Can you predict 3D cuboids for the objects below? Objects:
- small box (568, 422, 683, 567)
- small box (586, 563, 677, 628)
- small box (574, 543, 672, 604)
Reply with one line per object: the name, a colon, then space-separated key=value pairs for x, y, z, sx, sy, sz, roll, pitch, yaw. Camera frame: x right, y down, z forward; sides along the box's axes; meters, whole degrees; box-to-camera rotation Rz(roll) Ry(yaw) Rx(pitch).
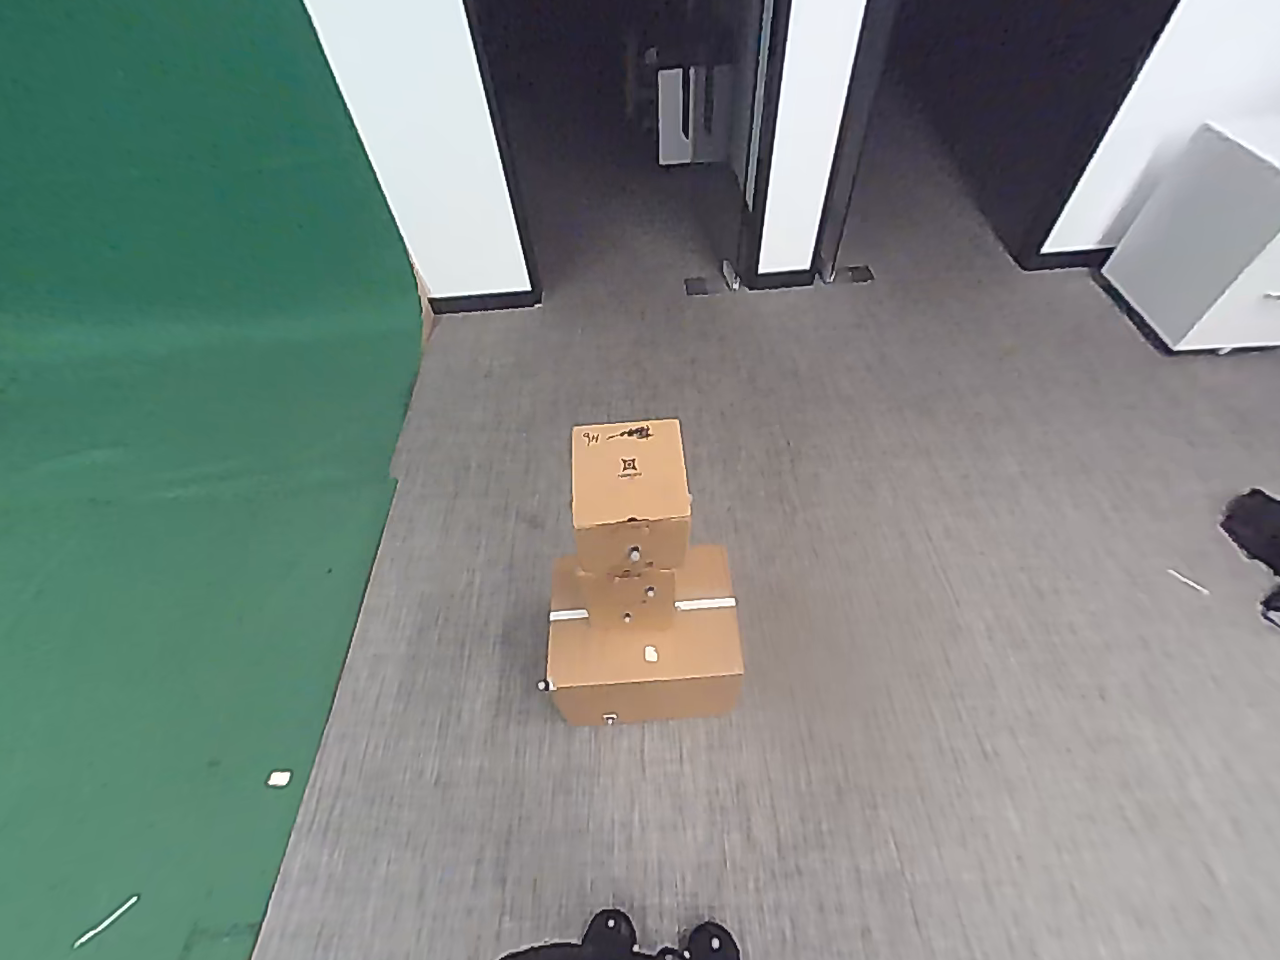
small box: x=-0.020 y=0.032 z=0.859 sx=0.168 sy=0.176 sz=0.179 roll=-5 pitch=59 yaw=0
small box: x=-0.018 y=0.205 z=1.134 sx=0.179 sy=0.176 sz=0.168 roll=-4 pitch=59 yaw=0
small box: x=-0.028 y=0.122 z=0.996 sx=0.168 sy=0.176 sz=0.179 roll=-4 pitch=57 yaw=0
